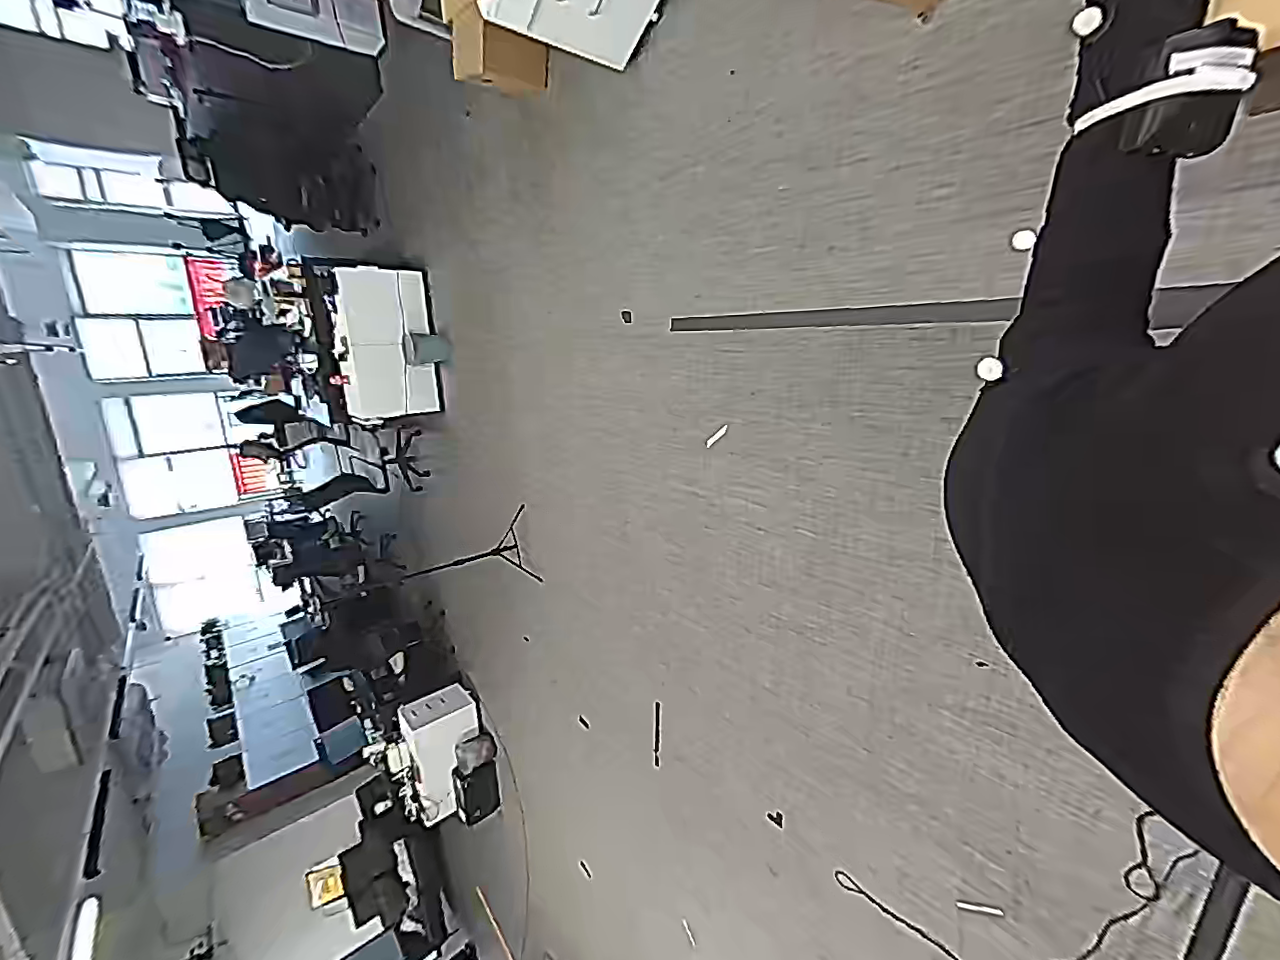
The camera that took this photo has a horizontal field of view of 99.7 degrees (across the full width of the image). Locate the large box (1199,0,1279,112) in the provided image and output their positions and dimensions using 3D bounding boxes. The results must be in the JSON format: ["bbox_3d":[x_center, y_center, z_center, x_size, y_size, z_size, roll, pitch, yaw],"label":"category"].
[{"bbox_3d":[0.598,-0.442,0.265,0.408,0.320,0.320,13,117,49],"label":"large box"}]
